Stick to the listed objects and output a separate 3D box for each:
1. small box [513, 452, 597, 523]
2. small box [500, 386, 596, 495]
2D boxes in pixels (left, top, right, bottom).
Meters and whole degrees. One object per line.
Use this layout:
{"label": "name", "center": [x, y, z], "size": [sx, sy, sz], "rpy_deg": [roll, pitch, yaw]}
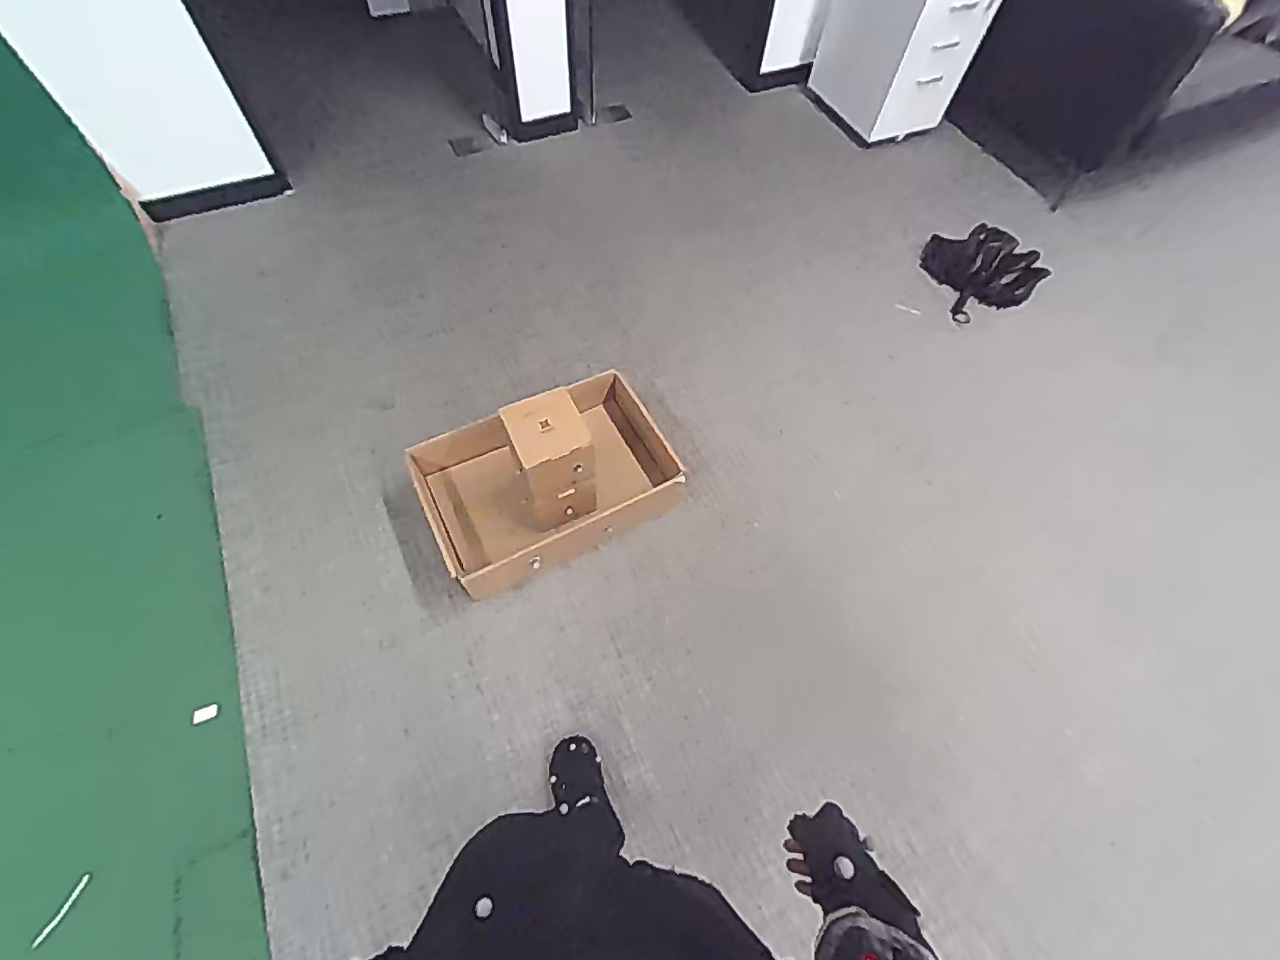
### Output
{"label": "small box", "center": [-0.217, -0.006, 1.417], "size": [0.168, 0.176, 0.179], "rpy_deg": [-22, 65, -14]}
{"label": "small box", "center": [-0.211, -0.085, 1.275], "size": [0.168, 0.176, 0.179], "rpy_deg": [-23, 64, -15]}
